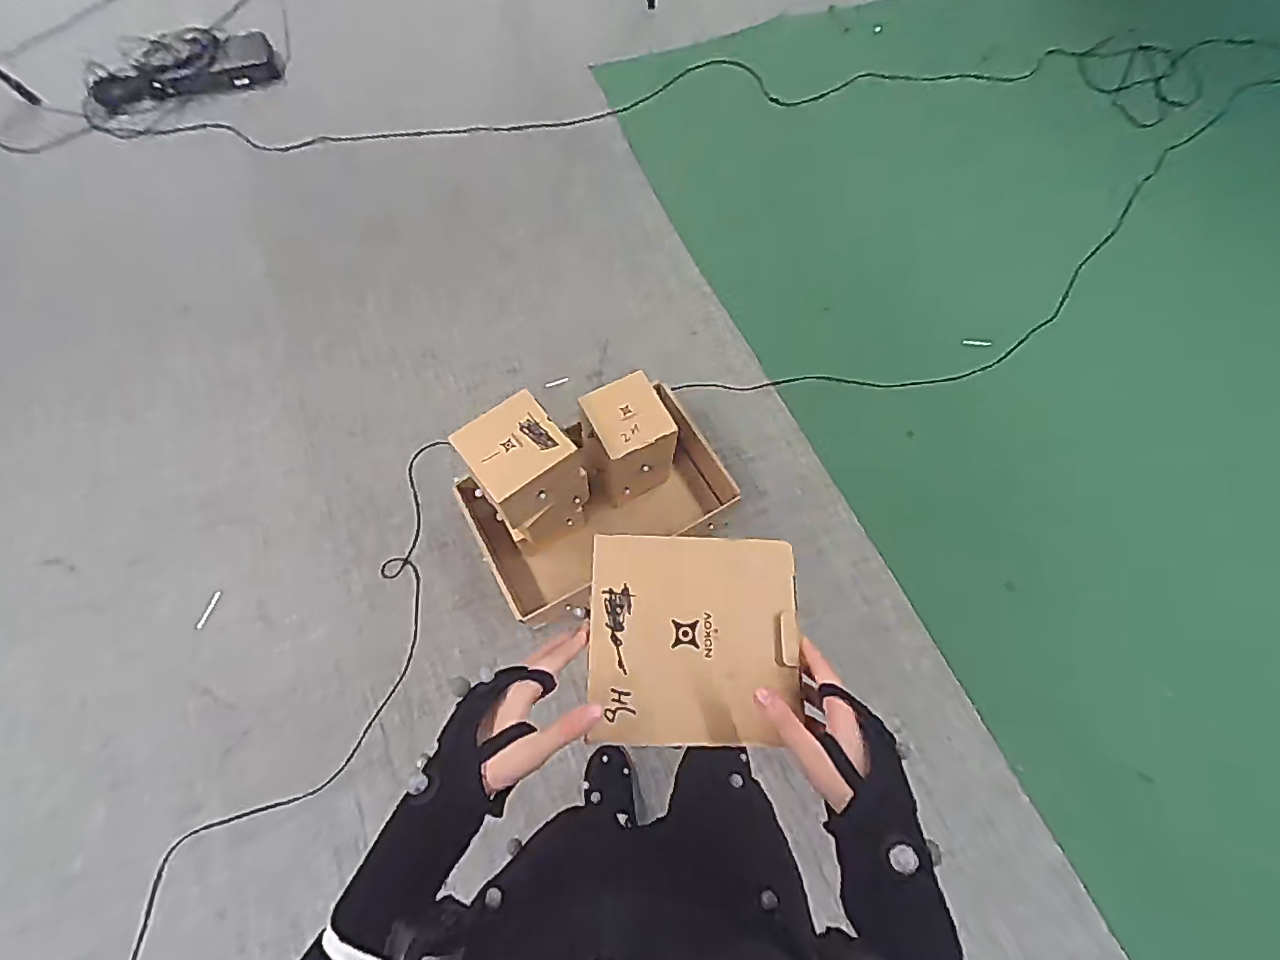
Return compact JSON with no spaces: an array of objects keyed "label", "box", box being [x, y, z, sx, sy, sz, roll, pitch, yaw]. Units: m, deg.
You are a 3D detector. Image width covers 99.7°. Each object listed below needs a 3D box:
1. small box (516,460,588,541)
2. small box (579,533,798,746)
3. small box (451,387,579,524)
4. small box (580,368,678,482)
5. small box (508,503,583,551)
[{"label":"small box","box":[-0.233,0.010,1.214,0.168,0.176,0.179,43,73,12]},{"label":"small box","box":[0.036,0.153,0.523,0.179,0.176,0.168,3,71,-2]},{"label":"small box","box":[-0.234,-0.041,1.058,0.179,0.176,0.168,-36,75,-15]},{"label":"small box","box":[-0.028,-0.124,1.267,0.168,0.176,0.179,-26,72,-10]},{"label":"small box","box":[-0.255,0.059,1.368,0.179,0.176,0.168,-27,73,-14]}]
